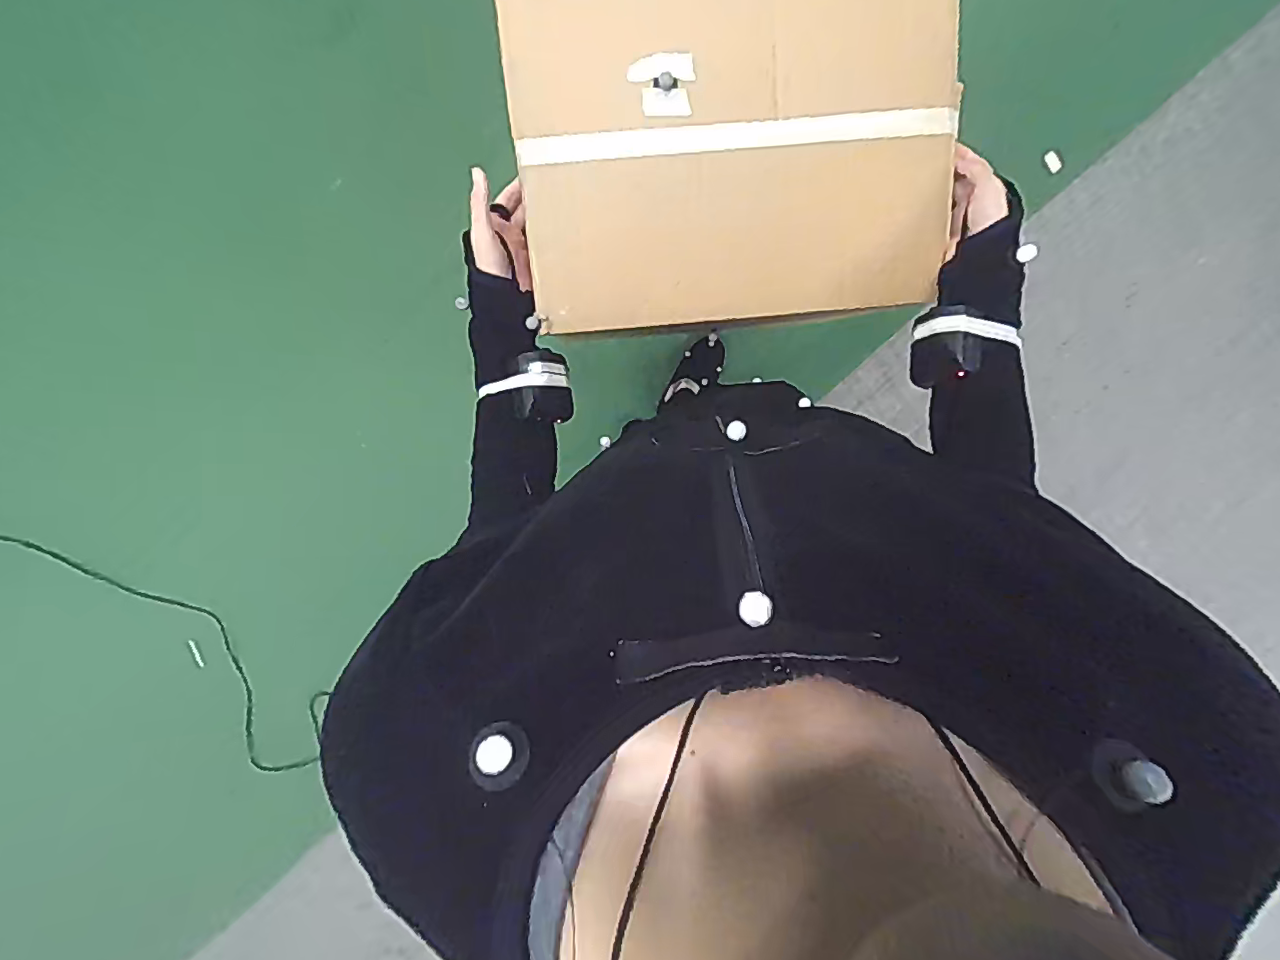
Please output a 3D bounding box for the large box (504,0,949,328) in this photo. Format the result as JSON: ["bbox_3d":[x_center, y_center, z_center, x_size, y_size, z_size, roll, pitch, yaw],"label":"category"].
[{"bbox_3d":[0.081,-0.356,0.650,0.408,0.320,0.320,-4,104,-2],"label":"large box"}]
